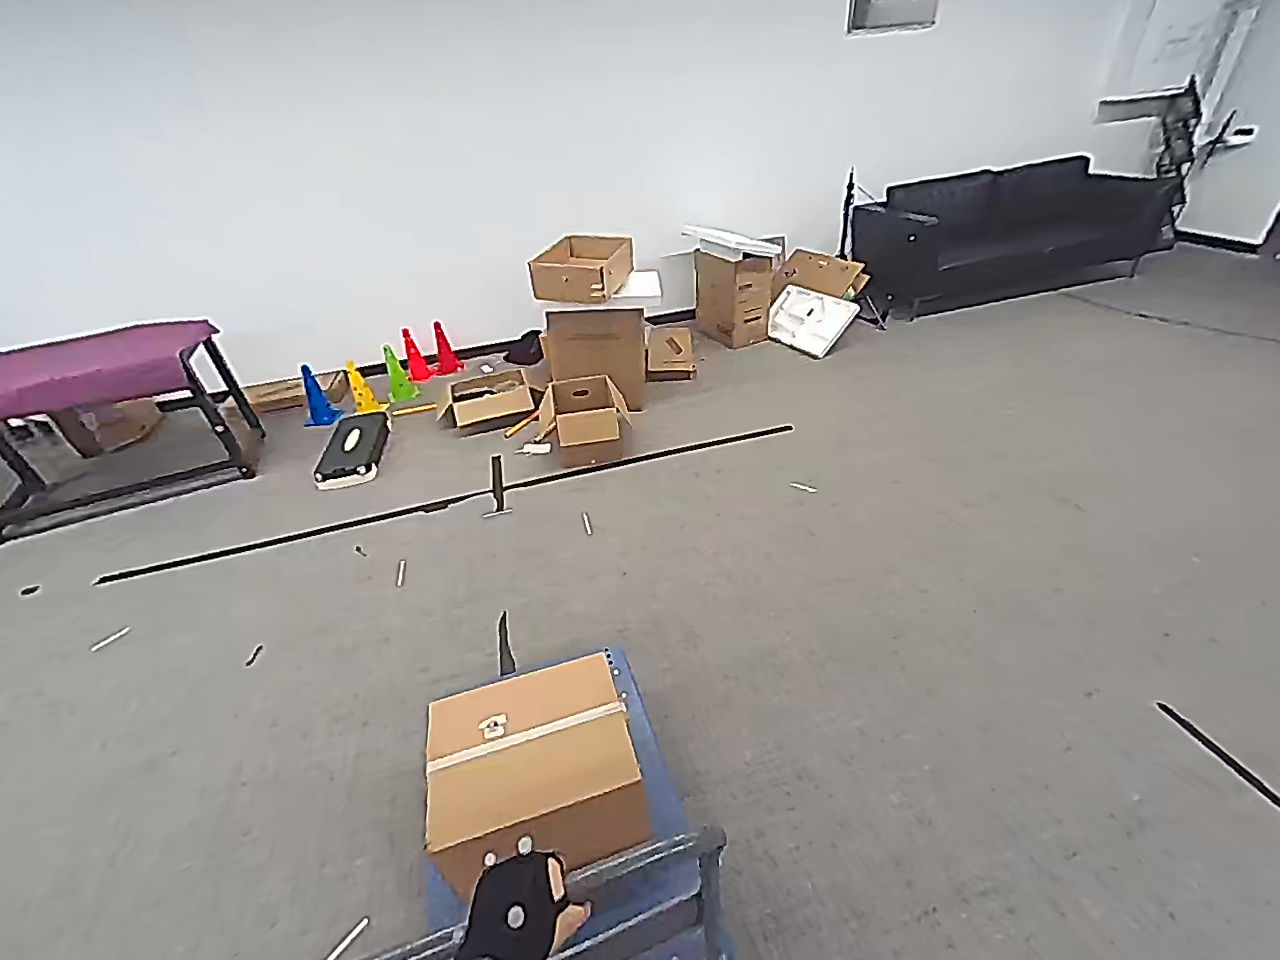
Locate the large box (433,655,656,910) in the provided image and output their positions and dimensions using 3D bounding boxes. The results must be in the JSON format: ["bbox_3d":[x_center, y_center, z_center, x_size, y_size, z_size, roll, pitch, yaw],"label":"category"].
[{"bbox_3d":[-0.210,0.664,1.209,0.408,0.320,0.320,-15,35,-10],"label":"large box"}]
